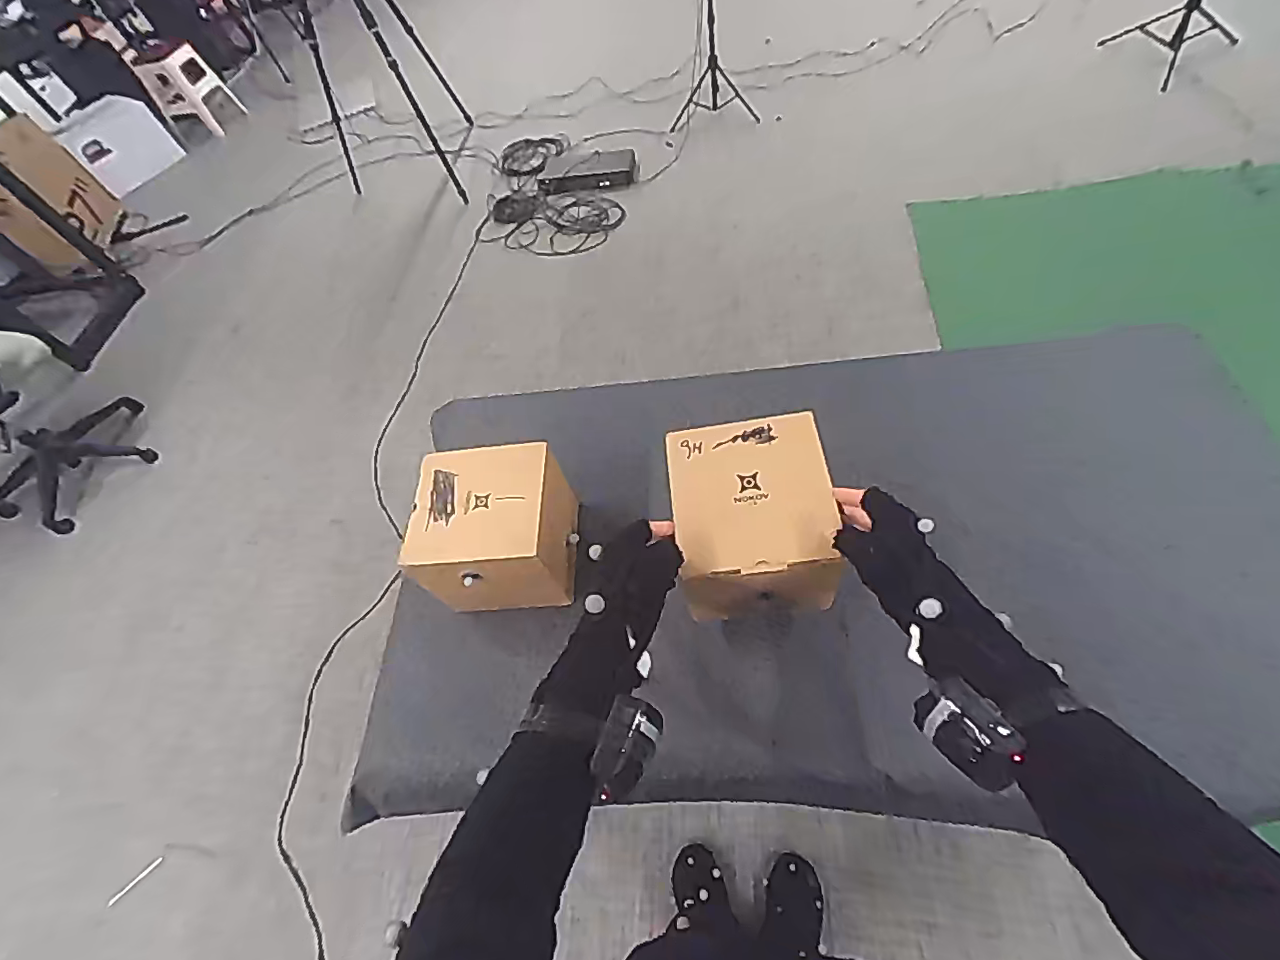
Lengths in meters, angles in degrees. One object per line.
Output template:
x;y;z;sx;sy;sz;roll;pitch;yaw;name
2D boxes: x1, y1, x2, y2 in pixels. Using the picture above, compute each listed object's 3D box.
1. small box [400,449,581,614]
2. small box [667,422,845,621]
-0.190;0.078;0.742;0.179;0.176;0.168;-5;57;7;small box
0.129;0.059;0.633;0.168;0.176;0.179;-8;60;8;small box
